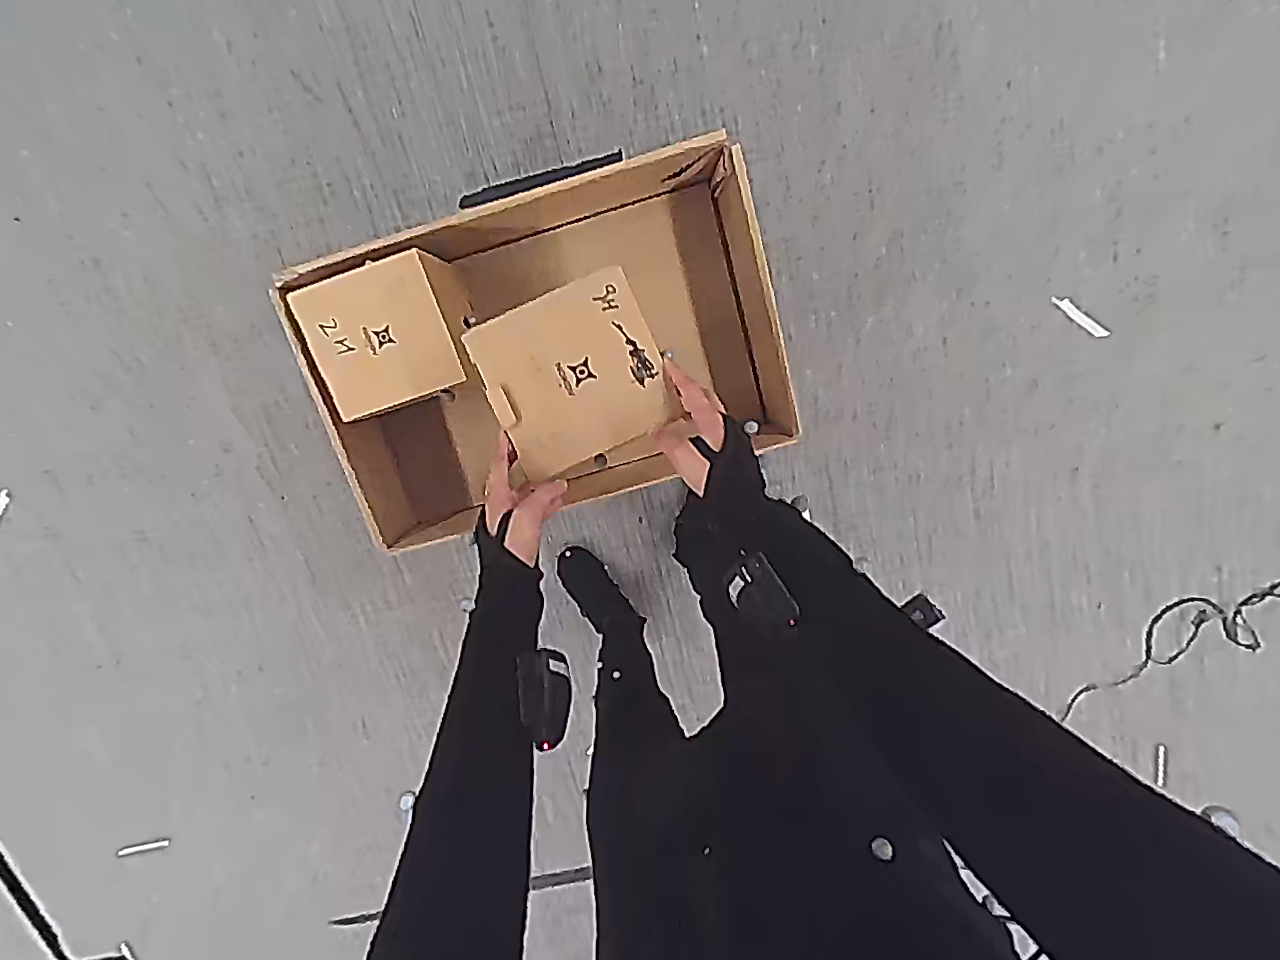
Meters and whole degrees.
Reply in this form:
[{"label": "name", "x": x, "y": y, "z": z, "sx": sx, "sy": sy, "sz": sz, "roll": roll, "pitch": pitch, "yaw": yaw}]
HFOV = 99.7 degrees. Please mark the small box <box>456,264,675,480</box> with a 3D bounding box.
[{"label": "small box", "x": -0.072, "y": -0.110, "z": 0.616, "sx": 0.179, "sy": 0.176, "sz": 0.168, "roll": -24, "pitch": 94, "yaw": 1}]
